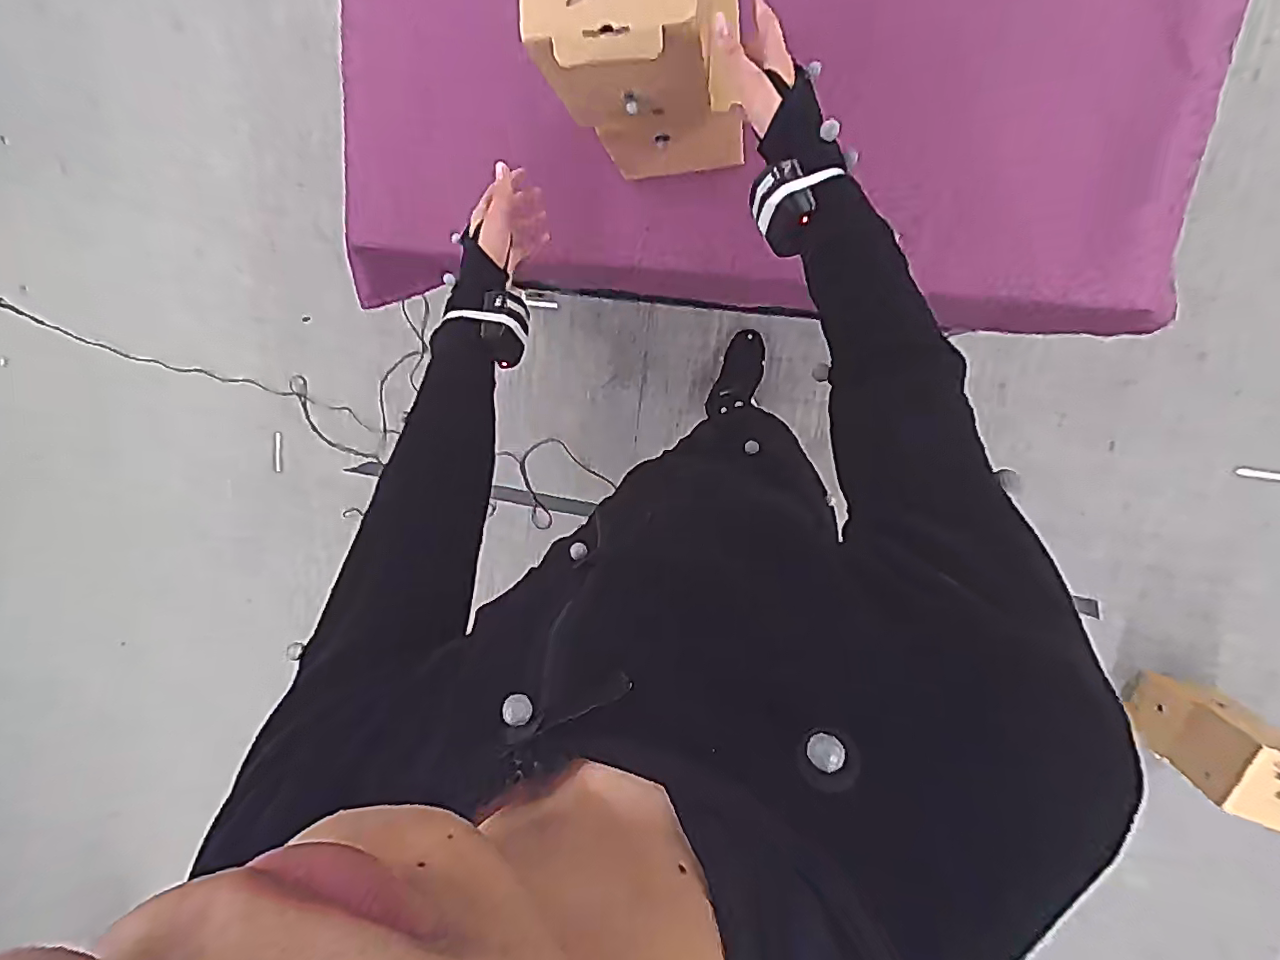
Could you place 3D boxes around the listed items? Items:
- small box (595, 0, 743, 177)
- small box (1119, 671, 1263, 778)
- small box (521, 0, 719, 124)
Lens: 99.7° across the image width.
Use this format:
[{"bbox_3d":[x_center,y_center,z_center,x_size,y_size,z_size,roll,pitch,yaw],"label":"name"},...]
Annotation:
[{"bbox_3d":[0.043,-0.517,0.703,0.179,0.176,0.168,-2,100,11],"label":"small box"},{"bbox_3d":[1.404,0.621,1.396,0.179,0.176,0.168,13,103,9],"label":"small box"},{"bbox_3d":[-0.010,-0.496,0.546,0.168,0.176,0.179,4,101,12],"label":"small box"}]
